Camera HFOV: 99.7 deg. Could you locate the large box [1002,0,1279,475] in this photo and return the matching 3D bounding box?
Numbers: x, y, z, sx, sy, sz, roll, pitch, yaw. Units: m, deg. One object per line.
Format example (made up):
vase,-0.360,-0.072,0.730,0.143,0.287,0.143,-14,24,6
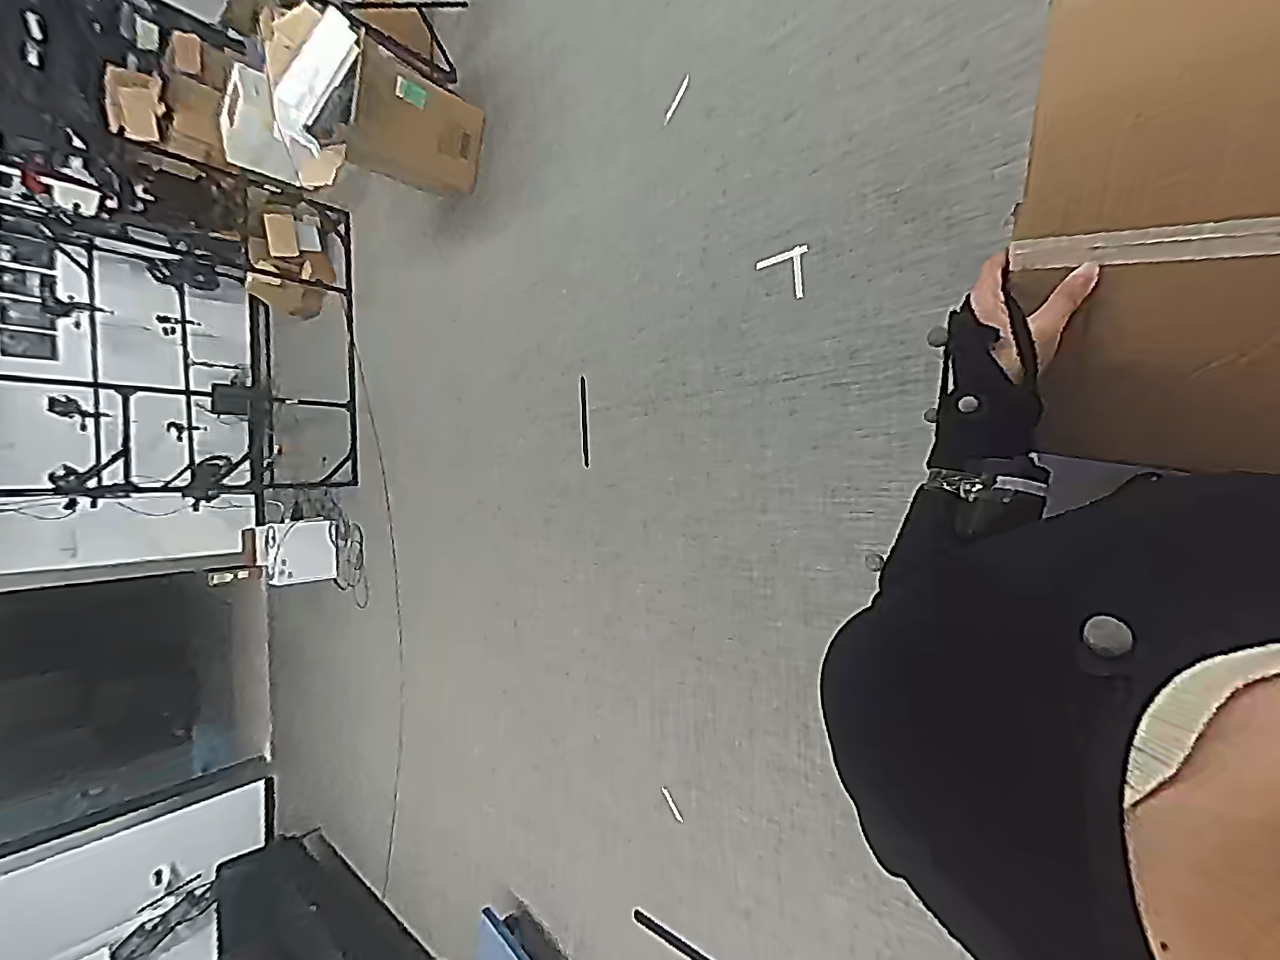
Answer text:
large box,0.537,-0.190,0.381,0.408,0.320,0.320,13,121,42
